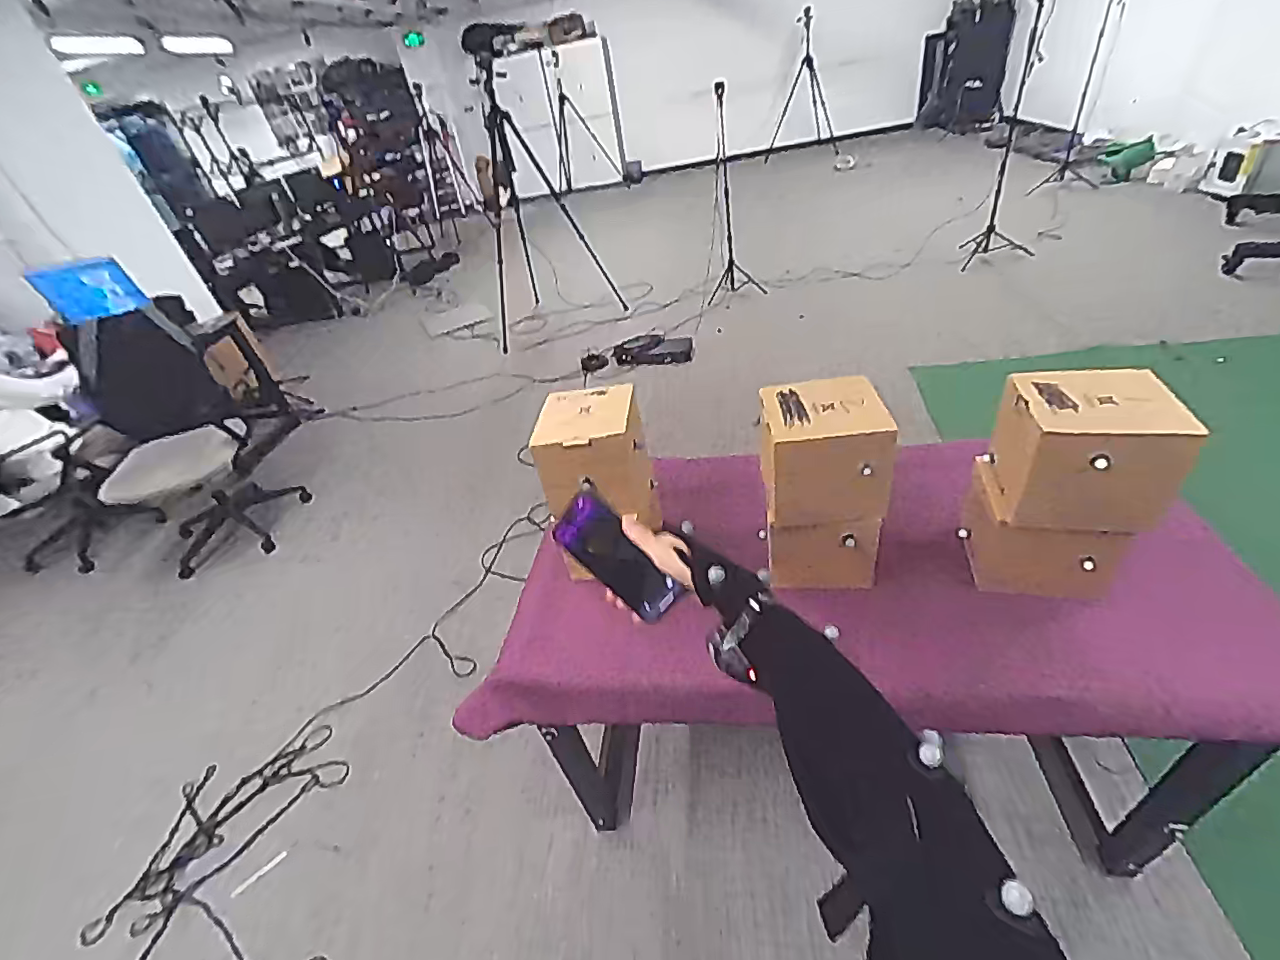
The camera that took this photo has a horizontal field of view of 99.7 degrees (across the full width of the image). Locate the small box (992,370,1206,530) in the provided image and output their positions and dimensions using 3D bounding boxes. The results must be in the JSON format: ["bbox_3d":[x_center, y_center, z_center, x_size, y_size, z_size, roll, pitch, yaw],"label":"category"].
[{"bbox_3d":[0.629,-0.043,0.776,0.179,0.176,0.168,2,39,17],"label":"small box"}]

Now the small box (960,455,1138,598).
[{"bbox_3d":[0.651,0.075,0.888,0.179,0.176,0.168,2,39,18],"label":"small box"}]

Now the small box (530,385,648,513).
[{"bbox_3d":[-0.082,-0.051,0.988,0.168,0.176,0.179,-5,38,9],"label":"small box"}]

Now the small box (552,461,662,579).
[{"bbox_3d":[-0.055,0.083,1.080,0.168,0.176,0.179,-2,38,14],"label":"small box"}]

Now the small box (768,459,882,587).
[{"bbox_3d":[0.322,0.079,0.975,0.179,0.176,0.168,-2,38,13],"label":"small box"}]
